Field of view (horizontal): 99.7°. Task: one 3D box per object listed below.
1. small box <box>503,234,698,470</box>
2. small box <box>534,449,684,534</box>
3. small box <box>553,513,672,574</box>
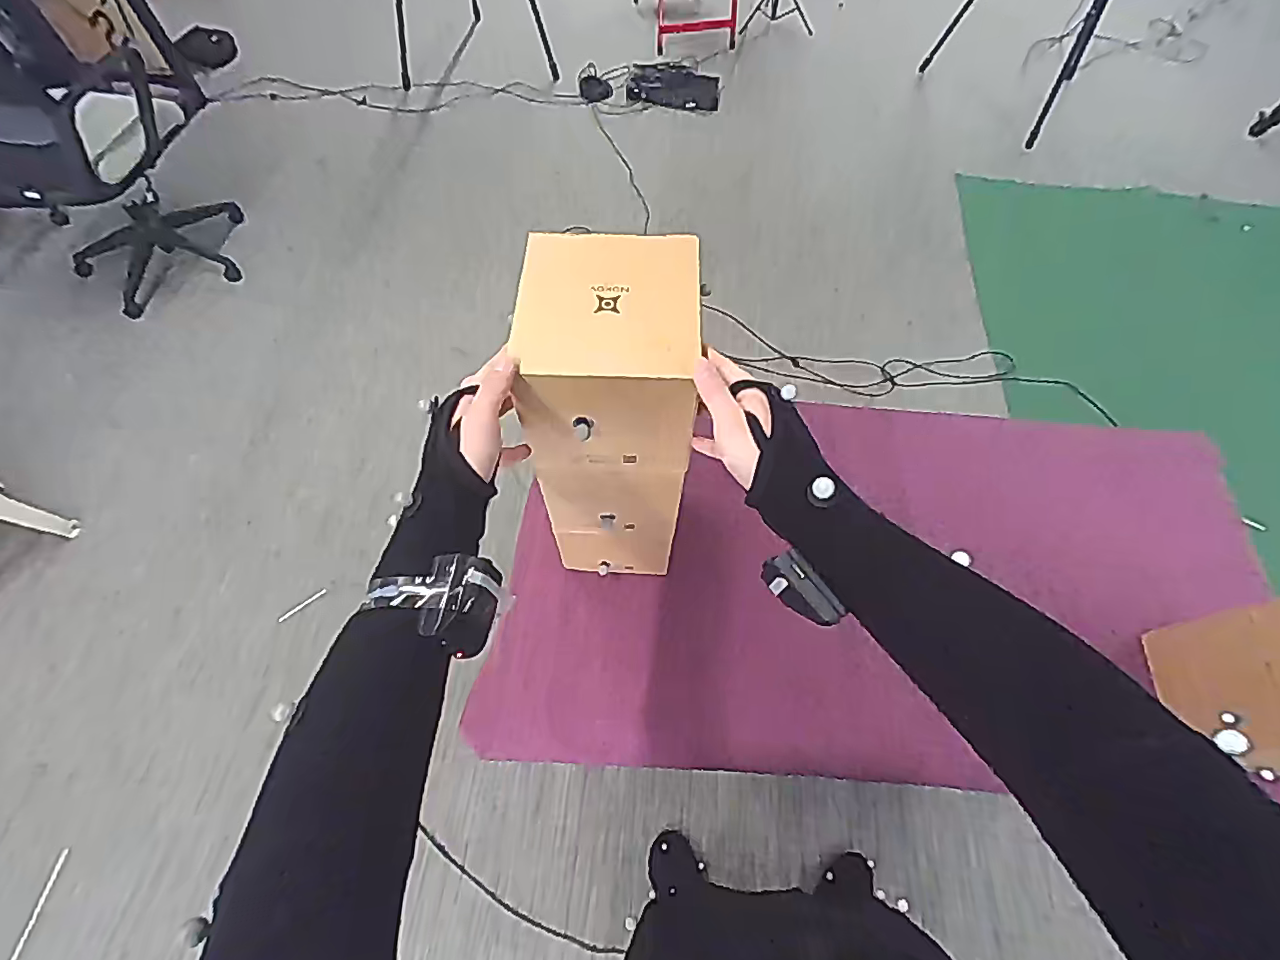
[{"bbox_3d":[-0.029,-0.122,0.552,0.168,0.176,0.179,1,62,1],"label":"small box"},{"bbox_3d":[-0.031,-0.046,0.695,0.168,0.176,0.179,2,62,1],"label":"small box"},{"bbox_3d":[-0.035,0.032,0.839,0.168,0.176,0.179,3,62,1],"label":"small box"}]
